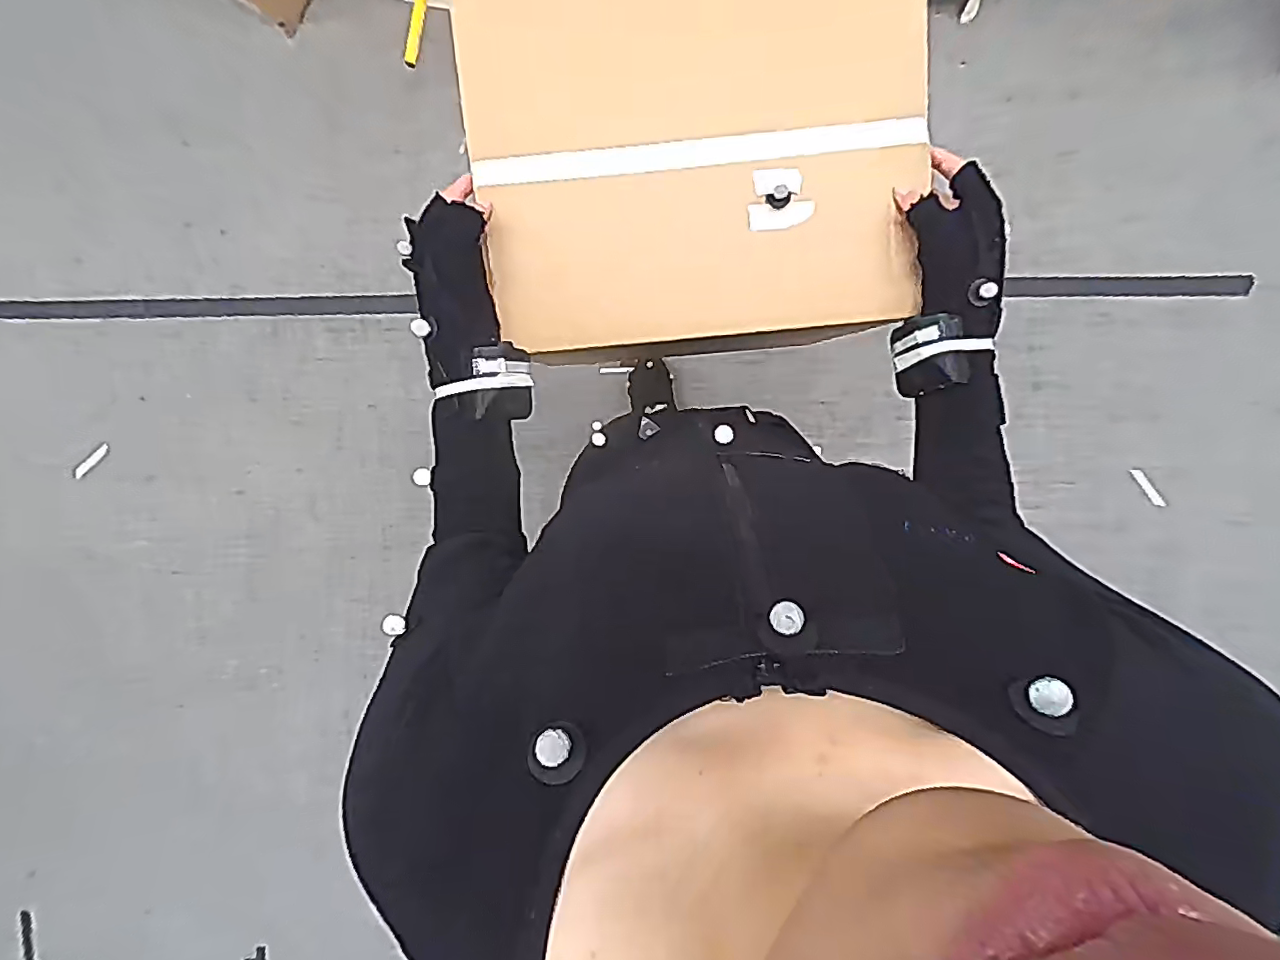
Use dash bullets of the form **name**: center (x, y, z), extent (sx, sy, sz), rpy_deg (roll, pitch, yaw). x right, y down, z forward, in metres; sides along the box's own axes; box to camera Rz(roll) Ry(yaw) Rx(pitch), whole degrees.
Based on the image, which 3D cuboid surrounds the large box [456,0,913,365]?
- **large box**: center (0.045, -0.321, 0.640), extent (0.408, 0.320, 0.320), rpy_deg (-5, 99, 0)
